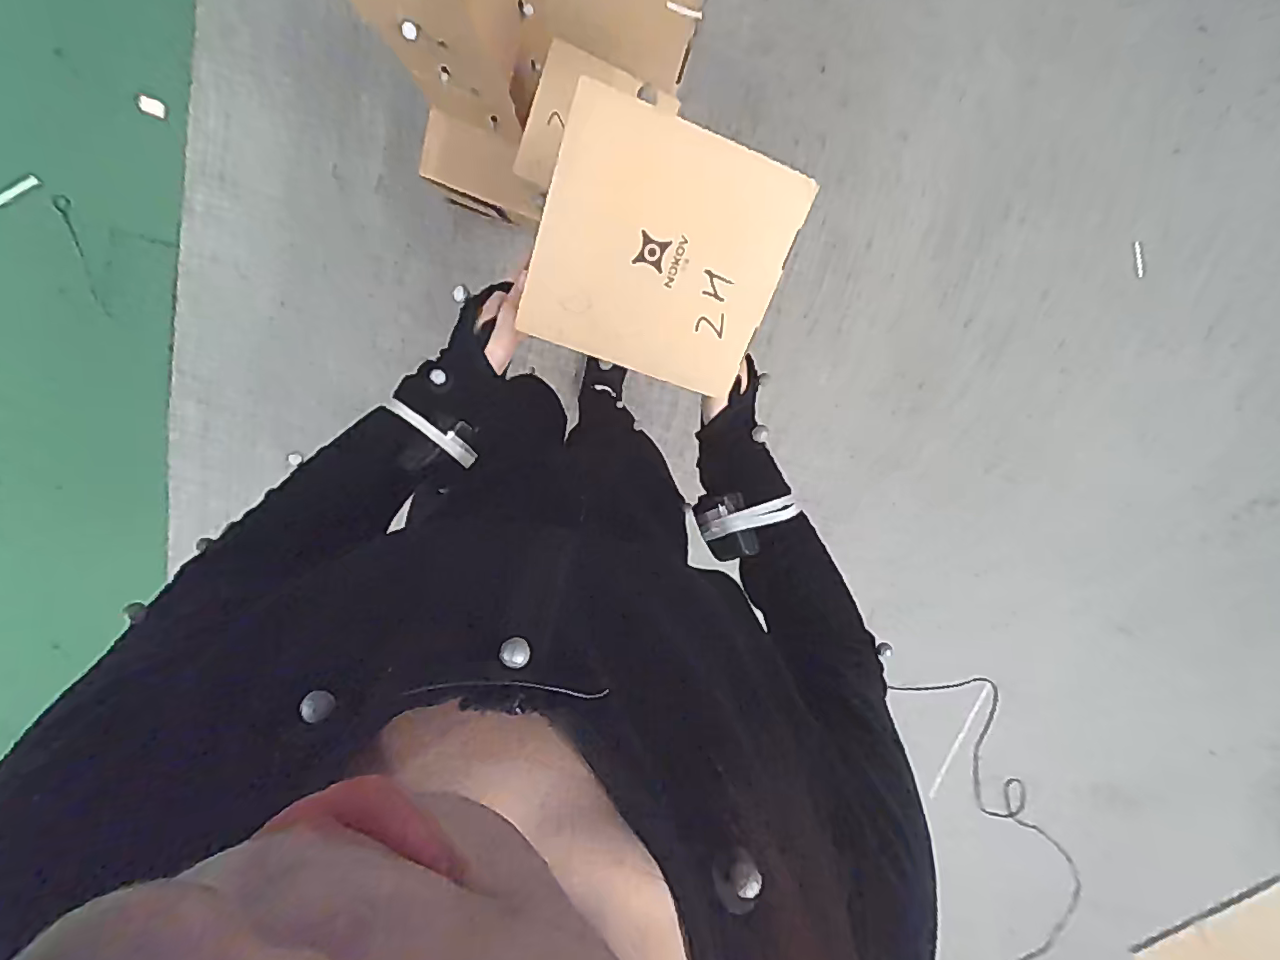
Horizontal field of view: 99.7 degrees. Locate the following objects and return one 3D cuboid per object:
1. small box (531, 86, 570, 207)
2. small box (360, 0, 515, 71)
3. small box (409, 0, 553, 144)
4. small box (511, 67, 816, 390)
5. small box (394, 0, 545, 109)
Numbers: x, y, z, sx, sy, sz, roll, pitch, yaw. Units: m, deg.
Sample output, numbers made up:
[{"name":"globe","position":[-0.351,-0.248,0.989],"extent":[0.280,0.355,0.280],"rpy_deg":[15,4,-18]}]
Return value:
[{"name":"small box","position":[-0.077,-0.516,0.930],"extent":[0.168,0.176,0.179],"rpy_deg":[20,102,-10]},{"name":"small box","position":[-0.220,-0.585,0.563],"extent":[0.168,0.176,0.179],"rpy_deg":[18,104,-9]},{"name":"small box","position":[-0.245,-0.684,0.873],"extent":[0.168,0.176,0.179],"rpy_deg":[18,102,-9]},{"name":"small box","position":[0.007,-0.197,0.455],"extent":[0.179,0.176,0.168],"rpy_deg":[17,113,-13]},{"name":"small box","position":[-0.228,-0.641,0.716],"extent":[0.168,0.176,0.179],"rpy_deg":[18,105,-9]}]
